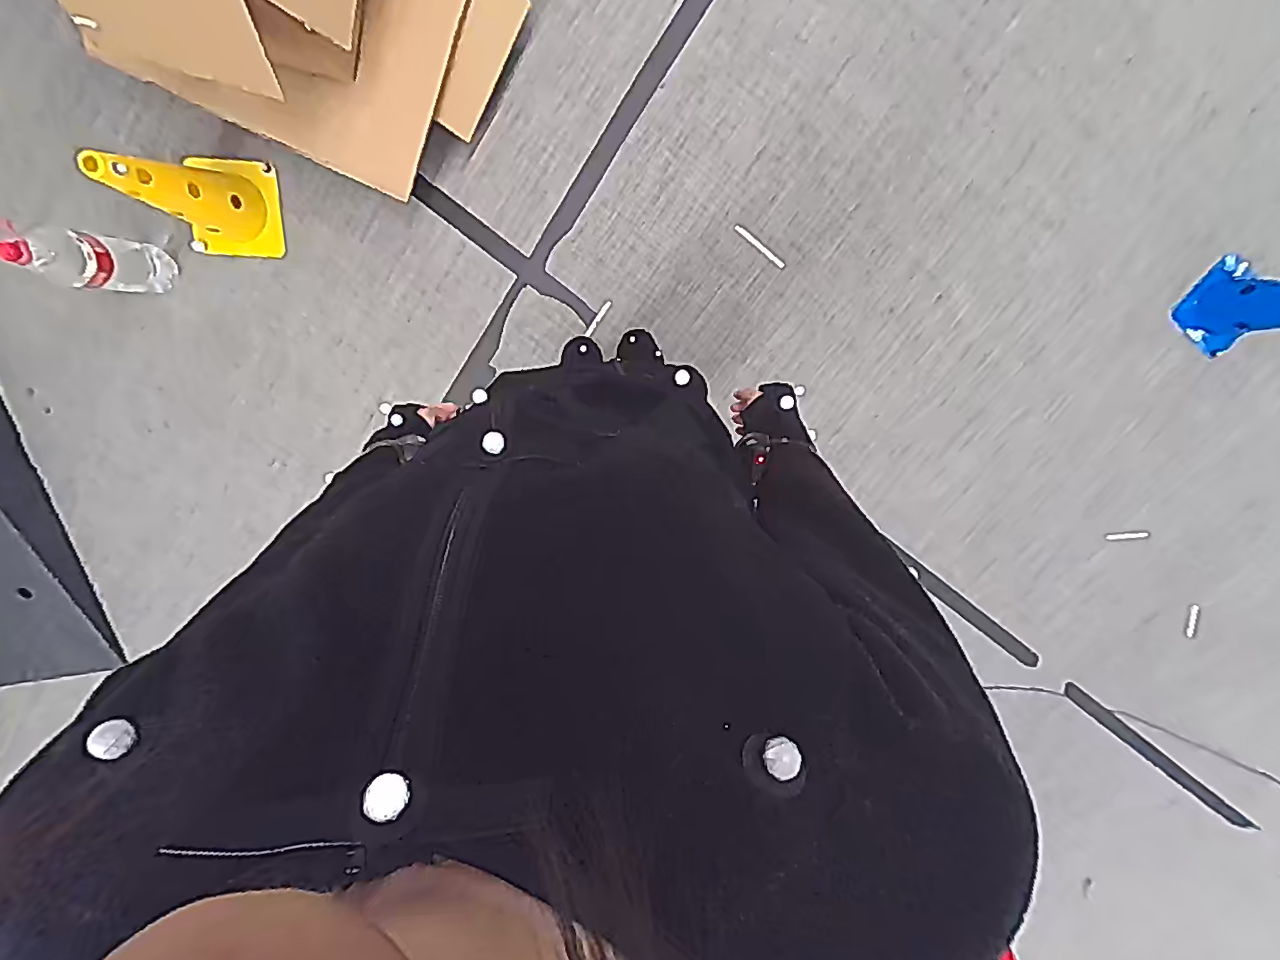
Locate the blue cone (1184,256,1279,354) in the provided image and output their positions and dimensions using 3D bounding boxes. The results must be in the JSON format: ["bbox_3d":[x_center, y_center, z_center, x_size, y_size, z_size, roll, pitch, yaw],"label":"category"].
[{"bbox_3d":[1.512,-0.400,1.225,0.192,0.380,0.193,39,101,-13],"label":"blue cone"}]
